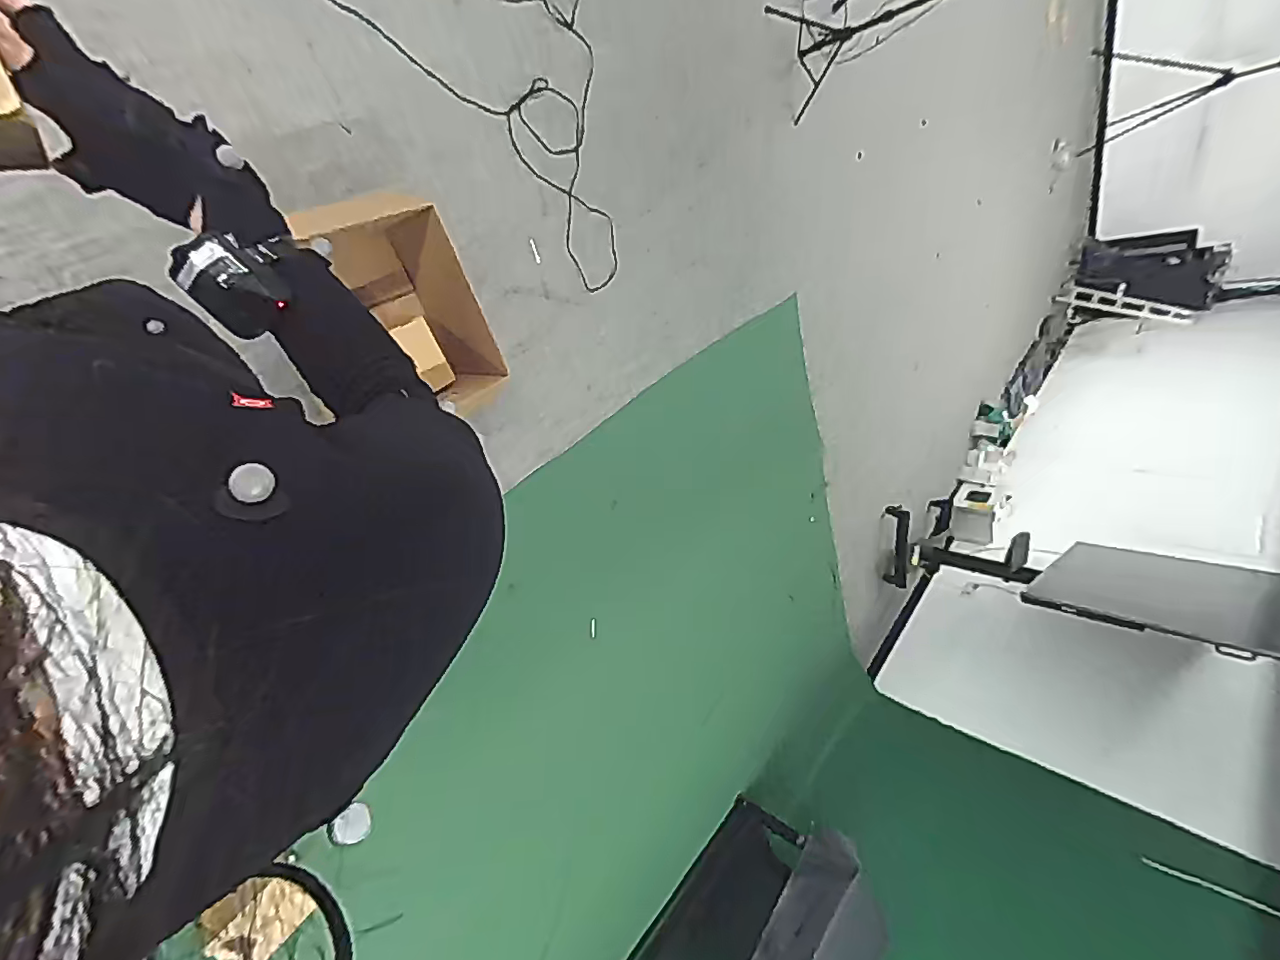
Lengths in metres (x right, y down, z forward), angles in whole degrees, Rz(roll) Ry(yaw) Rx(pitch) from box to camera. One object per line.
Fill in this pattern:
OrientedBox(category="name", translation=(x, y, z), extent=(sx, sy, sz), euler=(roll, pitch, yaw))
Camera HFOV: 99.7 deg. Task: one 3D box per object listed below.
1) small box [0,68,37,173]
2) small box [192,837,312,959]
OrientedBox(category="small box", translation=(-0.465, -0.264, 0.270), extent=(0.168, 0.176, 0.179), euler=(-28, 123, -35))
OrientedBox(category="small box", translation=(-0.958, 1.039, 1.331), extent=(0.179, 0.176, 0.168), euler=(-44, 127, -31))
